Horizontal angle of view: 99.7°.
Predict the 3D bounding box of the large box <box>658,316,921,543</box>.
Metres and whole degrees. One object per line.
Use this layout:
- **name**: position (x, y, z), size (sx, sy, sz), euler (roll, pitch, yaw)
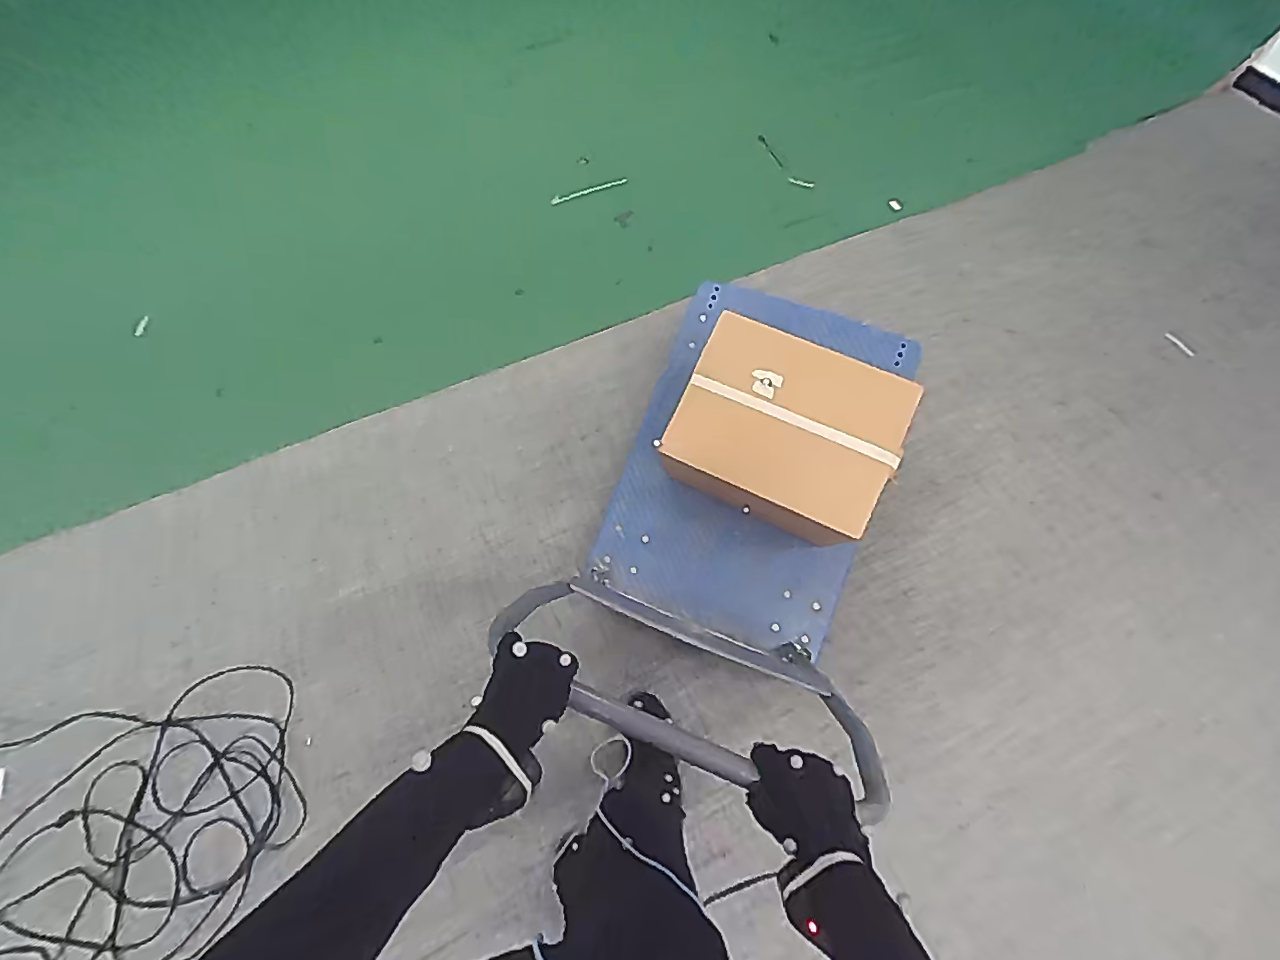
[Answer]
- **large box**: position (0.297, -0.086, 1.155), size (0.408, 0.320, 0.320), euler (25, 84, 11)
